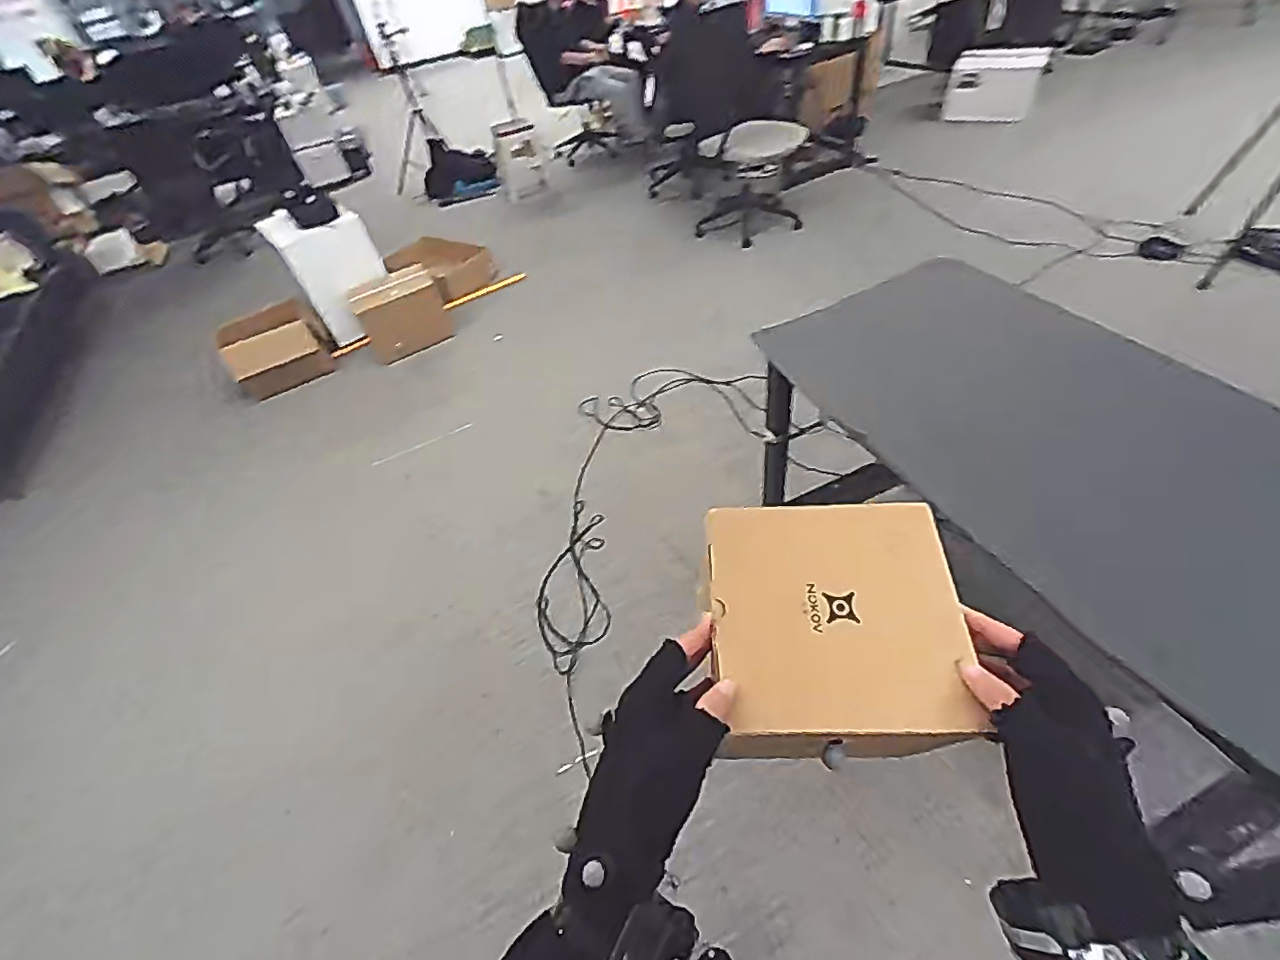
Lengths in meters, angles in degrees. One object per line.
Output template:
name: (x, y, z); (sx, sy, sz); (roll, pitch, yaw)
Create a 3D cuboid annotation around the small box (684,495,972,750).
small box: (0.129, 0.126, 0.453); (0.179, 0.176, 0.168); (-4, 59, 3)
